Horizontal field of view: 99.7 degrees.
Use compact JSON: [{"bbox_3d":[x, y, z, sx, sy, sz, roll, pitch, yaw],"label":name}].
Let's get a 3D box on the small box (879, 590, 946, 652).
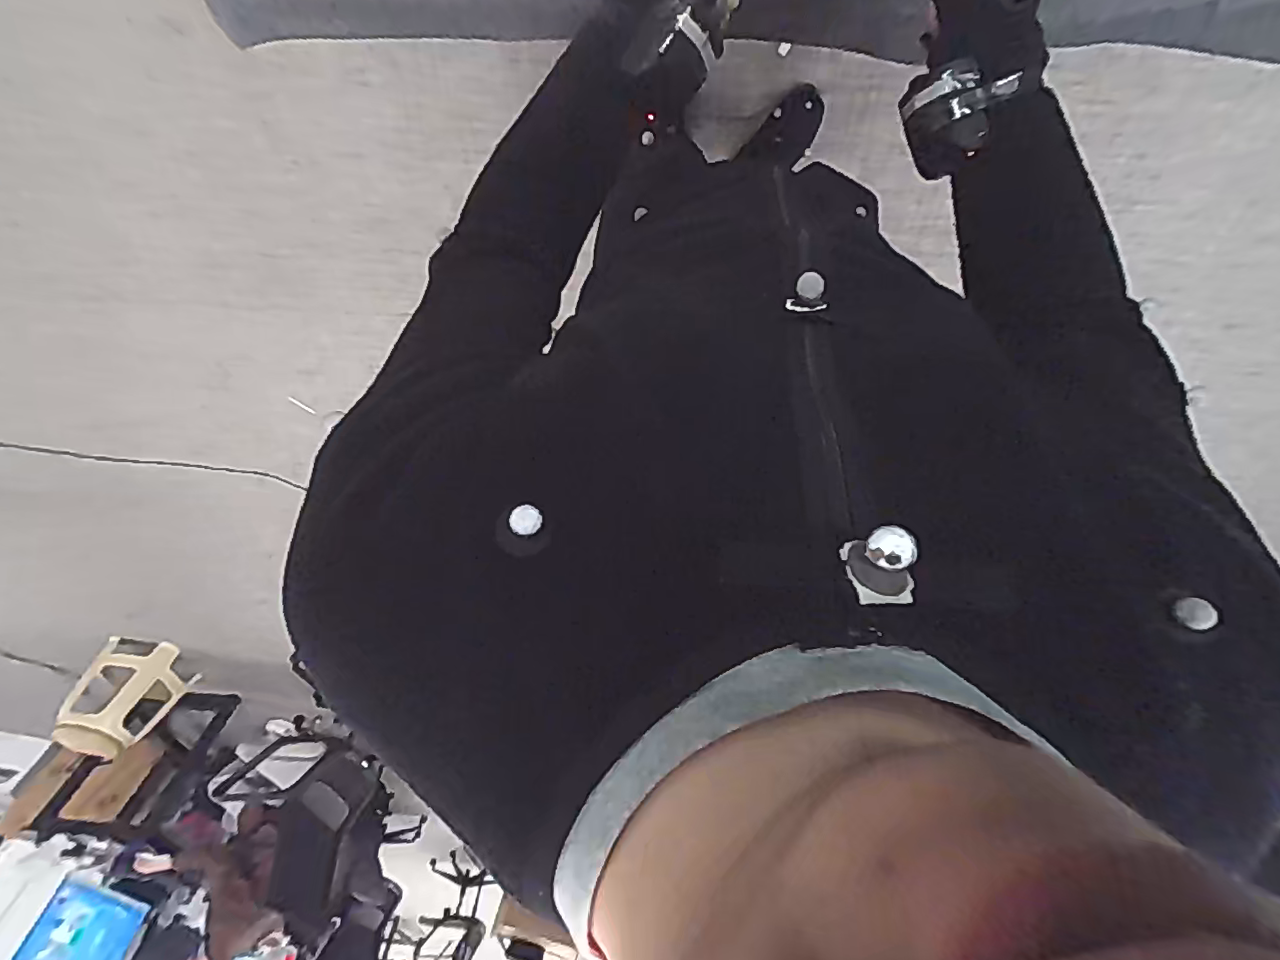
[{"bbox_3d":[1.053,0.547,2.106,0.168,0.176,0.179,2,129,3],"label":"small box"}]
